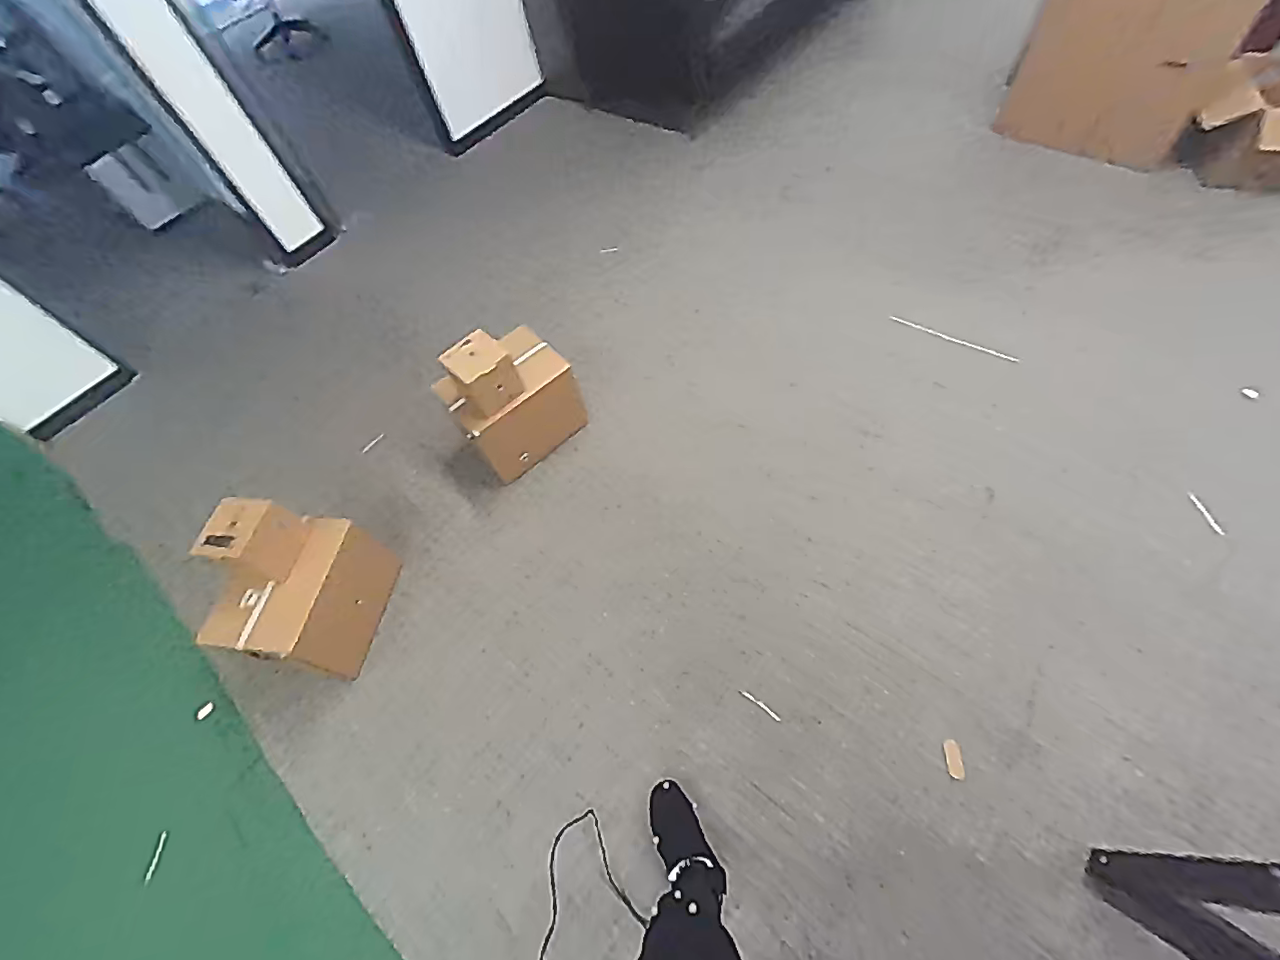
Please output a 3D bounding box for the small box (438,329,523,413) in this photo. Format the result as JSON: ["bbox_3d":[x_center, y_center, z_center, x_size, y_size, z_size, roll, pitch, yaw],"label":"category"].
[{"bbox_3d":[-0.502,-0.342,1.731,0.168,0.176,0.179,-42,62,-17],"label":"small box"}]

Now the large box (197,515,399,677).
[{"bbox_3d":[-1.018,0.357,1.670,0.320,0.320,0.408,2,59,12],"label":"large box"}]
